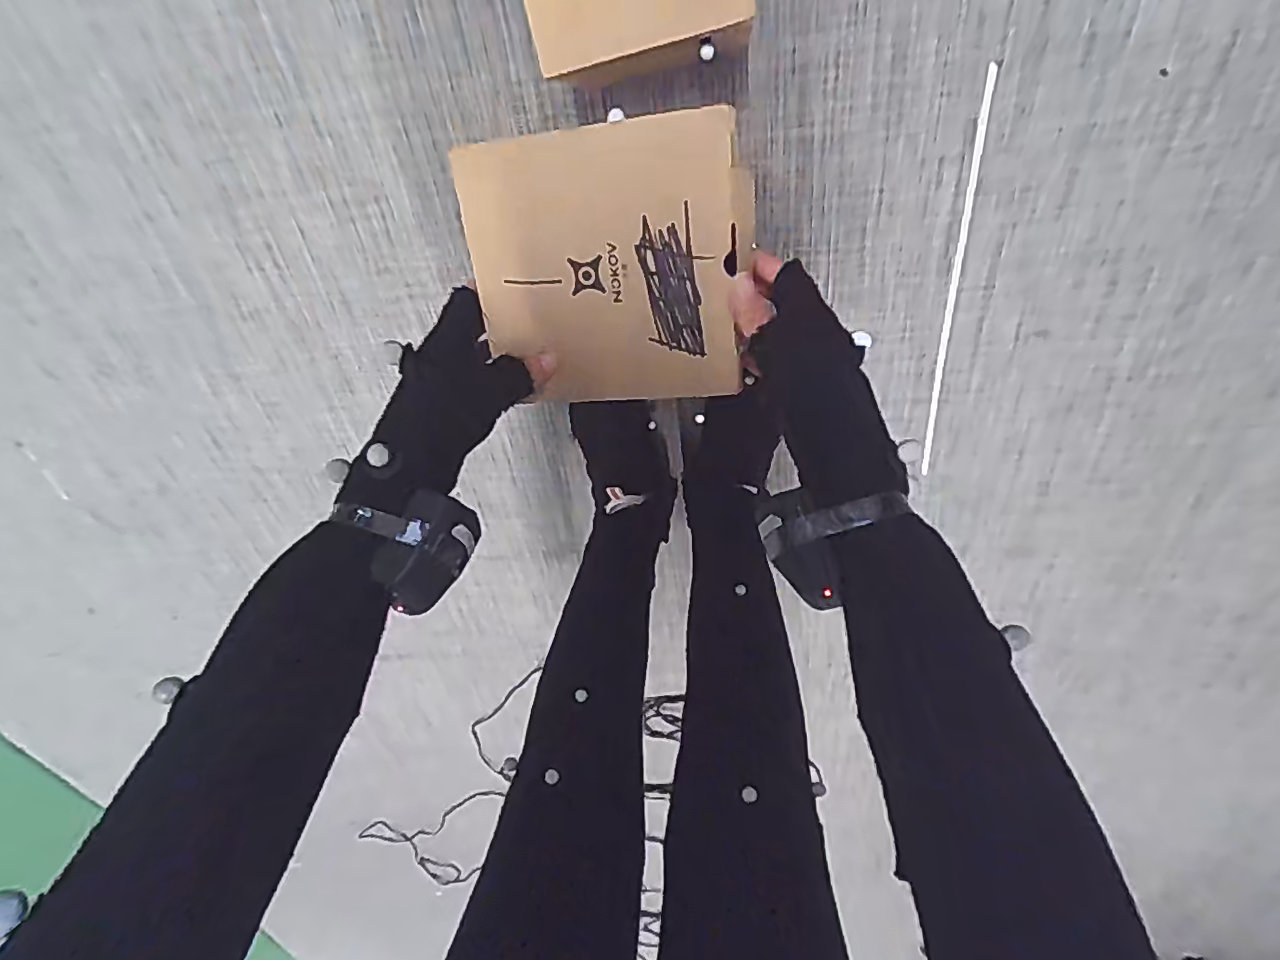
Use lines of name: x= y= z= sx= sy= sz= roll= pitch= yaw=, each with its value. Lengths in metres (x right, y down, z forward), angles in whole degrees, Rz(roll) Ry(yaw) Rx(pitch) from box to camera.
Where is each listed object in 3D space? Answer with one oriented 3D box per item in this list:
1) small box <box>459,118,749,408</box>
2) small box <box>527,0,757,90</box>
small box: x=-0.006 y=-0.163 z=0.421 sx=0.179 sy=0.176 sz=0.168 roll=-1 pitch=115 yaw=13
small box: x=0.001 y=-0.449 z=0.454 sx=0.179 sy=0.176 sz=0.168 roll=-7 pitch=122 yaw=12
